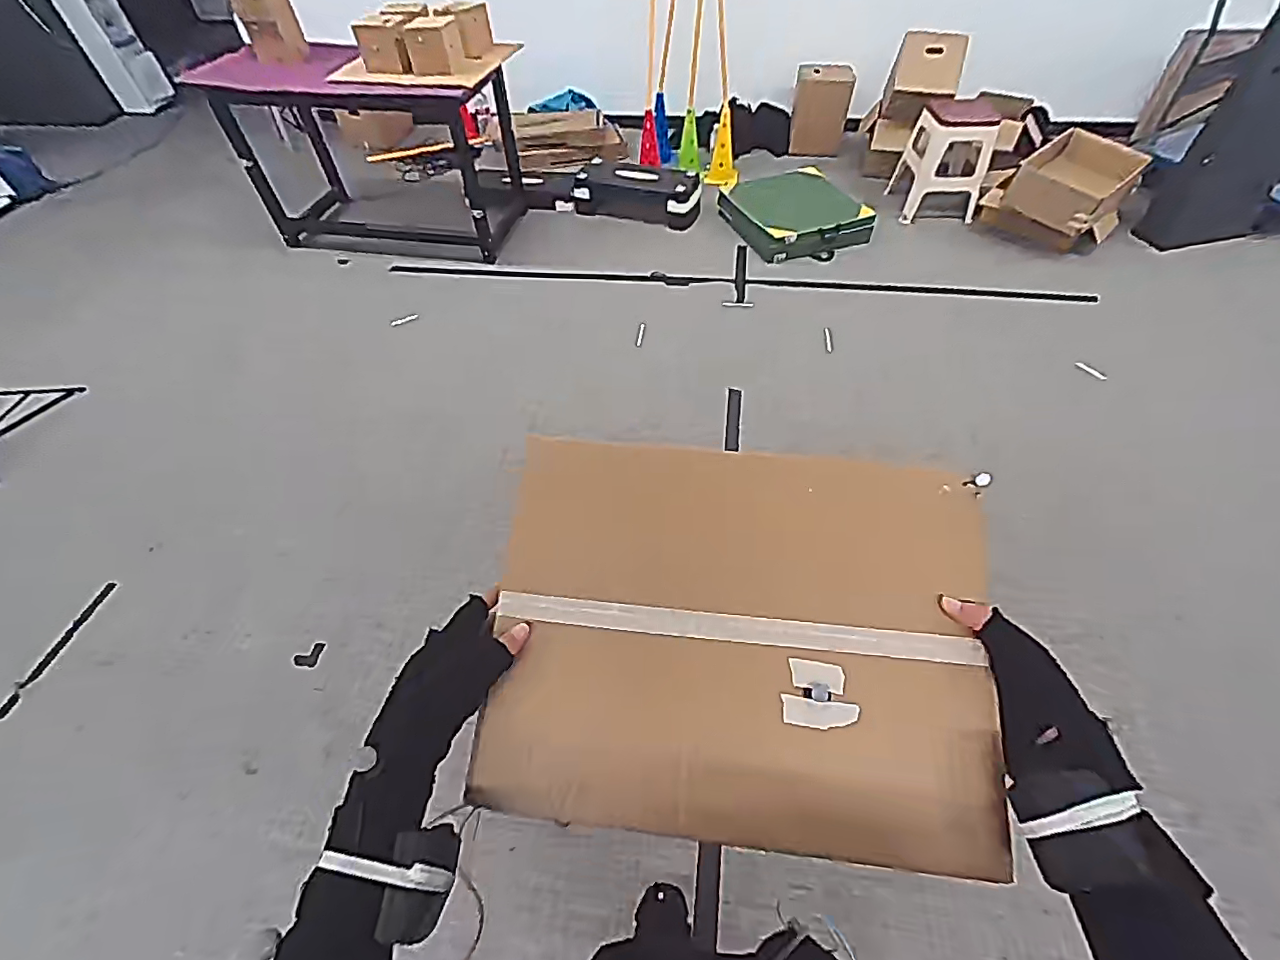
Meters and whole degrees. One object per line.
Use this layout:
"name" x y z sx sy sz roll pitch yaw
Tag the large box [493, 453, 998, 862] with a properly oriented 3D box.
"large box" 0.096 0.177 0.610 0.408 0.320 0.320 5 73 6
